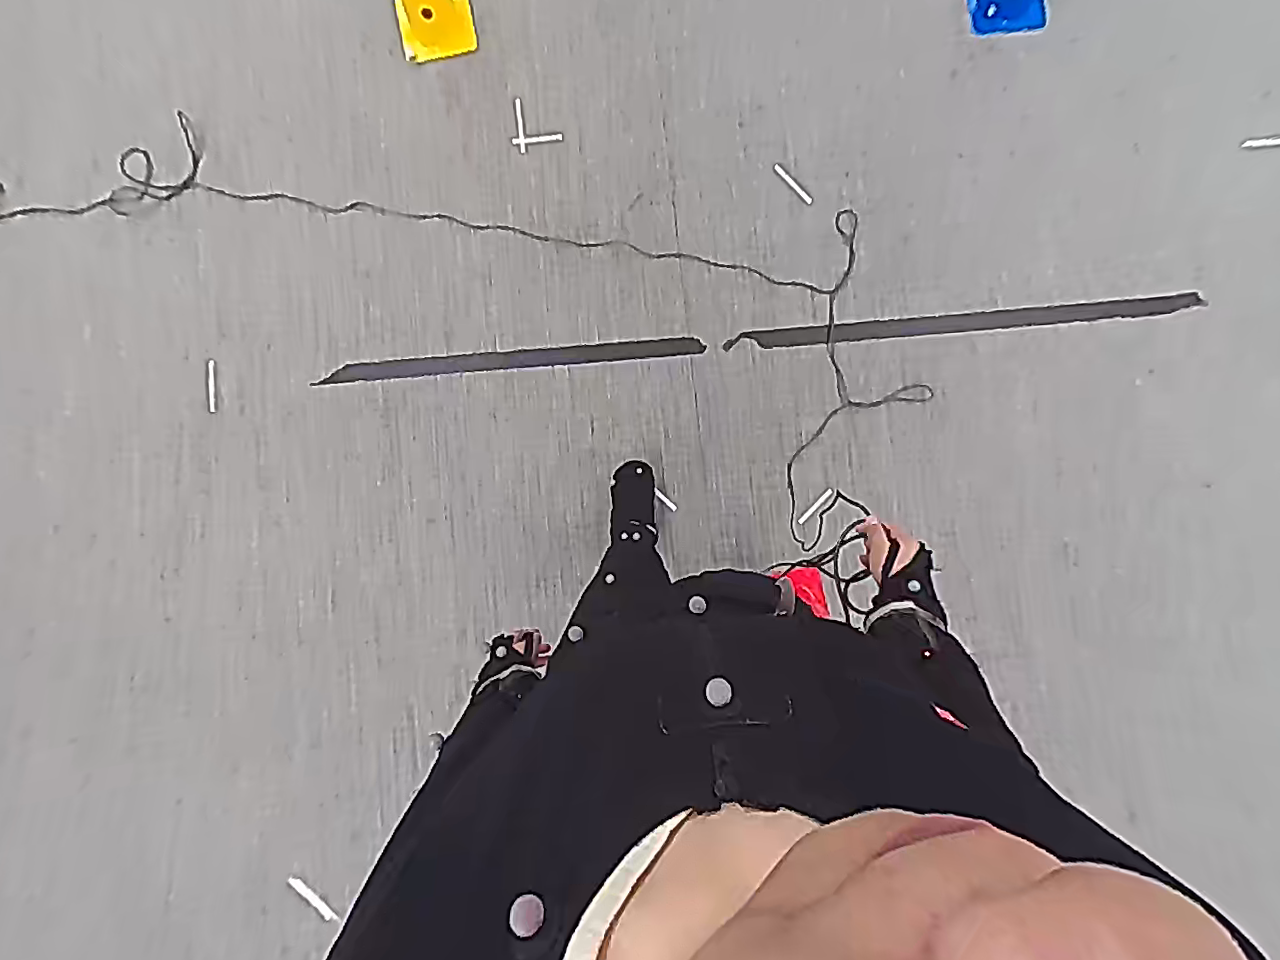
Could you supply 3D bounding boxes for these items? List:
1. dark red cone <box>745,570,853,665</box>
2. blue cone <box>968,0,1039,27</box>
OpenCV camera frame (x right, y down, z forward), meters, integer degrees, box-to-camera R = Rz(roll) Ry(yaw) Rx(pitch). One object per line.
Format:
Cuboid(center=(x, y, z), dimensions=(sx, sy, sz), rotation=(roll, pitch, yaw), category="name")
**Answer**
Cuboid(center=(0.367, 0.318, 1.150), dimensions=(0.202, 0.394, 0.201), rotation=(-13, 84, 0), category="dark red cone")
Cuboid(center=(0.972, -1.329, 1.296), dimensions=(0.193, 0.380, 0.192), rotation=(-5, 84, 0), category="blue cone")
